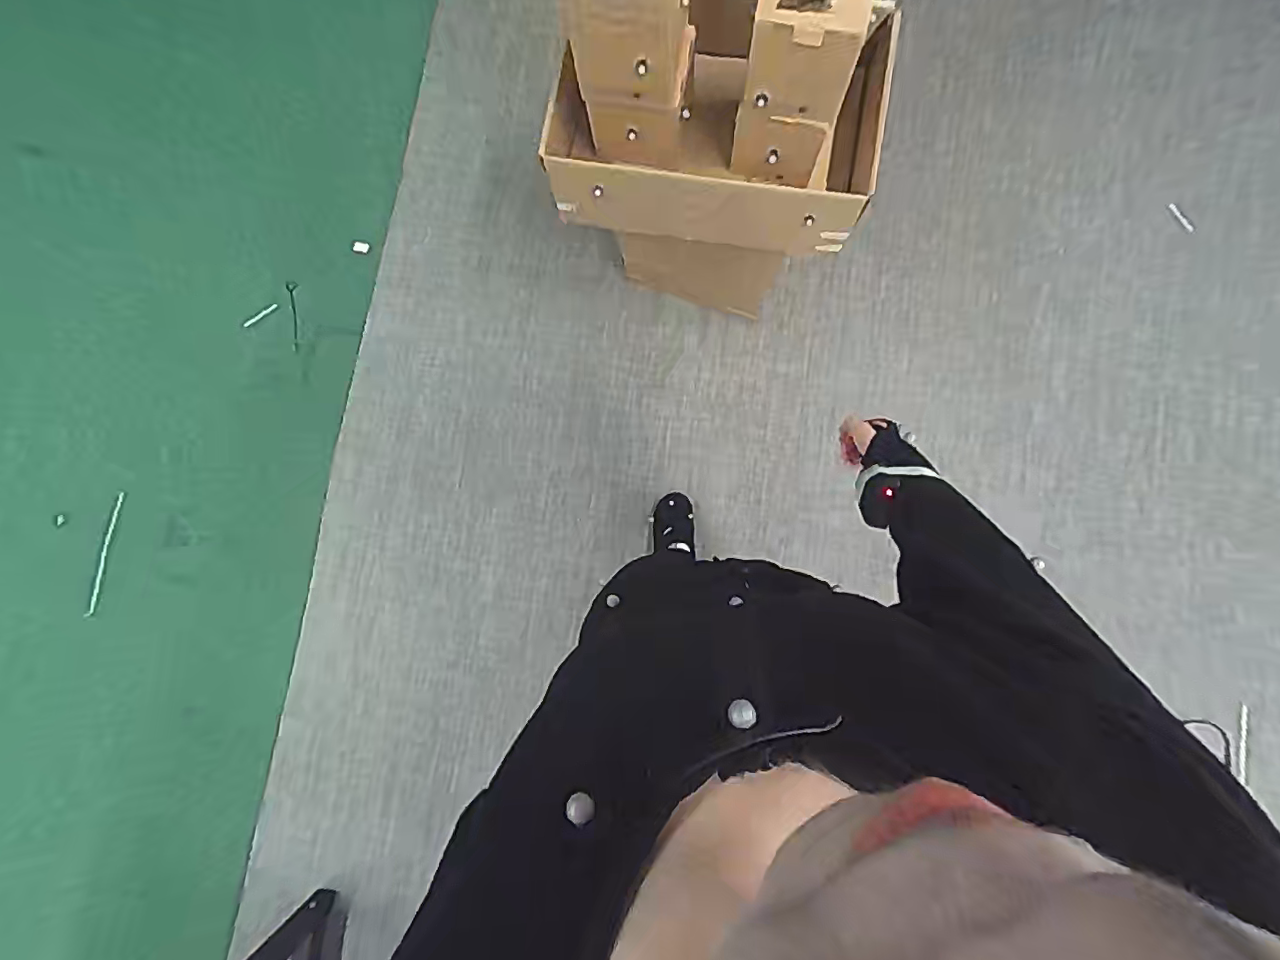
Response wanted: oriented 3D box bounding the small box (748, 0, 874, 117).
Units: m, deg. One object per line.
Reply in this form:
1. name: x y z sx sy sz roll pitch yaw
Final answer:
1. small box: 0.274 -0.728 0.868 0.168 0.176 0.179 13 84 6

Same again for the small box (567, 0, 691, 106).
1. small box: -0.009 -0.765 0.897 0.168 0.176 0.179 11 84 5
